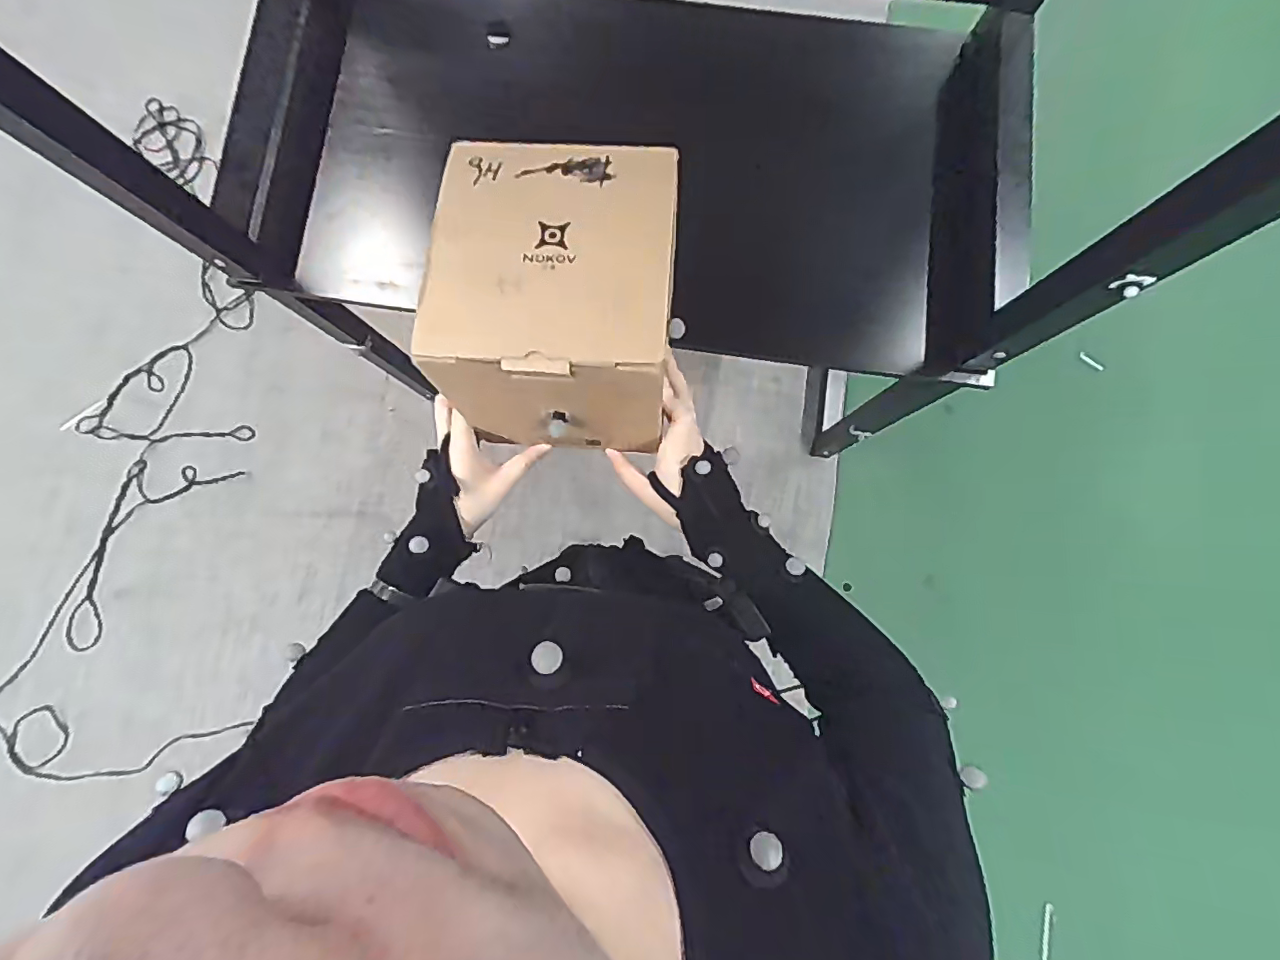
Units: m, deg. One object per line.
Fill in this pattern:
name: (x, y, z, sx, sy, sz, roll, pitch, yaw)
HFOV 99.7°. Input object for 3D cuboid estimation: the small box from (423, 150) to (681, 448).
small box: (-0.054, -0.133, 0.448, 0.168, 0.176, 0.179, 3, 75, 2)
